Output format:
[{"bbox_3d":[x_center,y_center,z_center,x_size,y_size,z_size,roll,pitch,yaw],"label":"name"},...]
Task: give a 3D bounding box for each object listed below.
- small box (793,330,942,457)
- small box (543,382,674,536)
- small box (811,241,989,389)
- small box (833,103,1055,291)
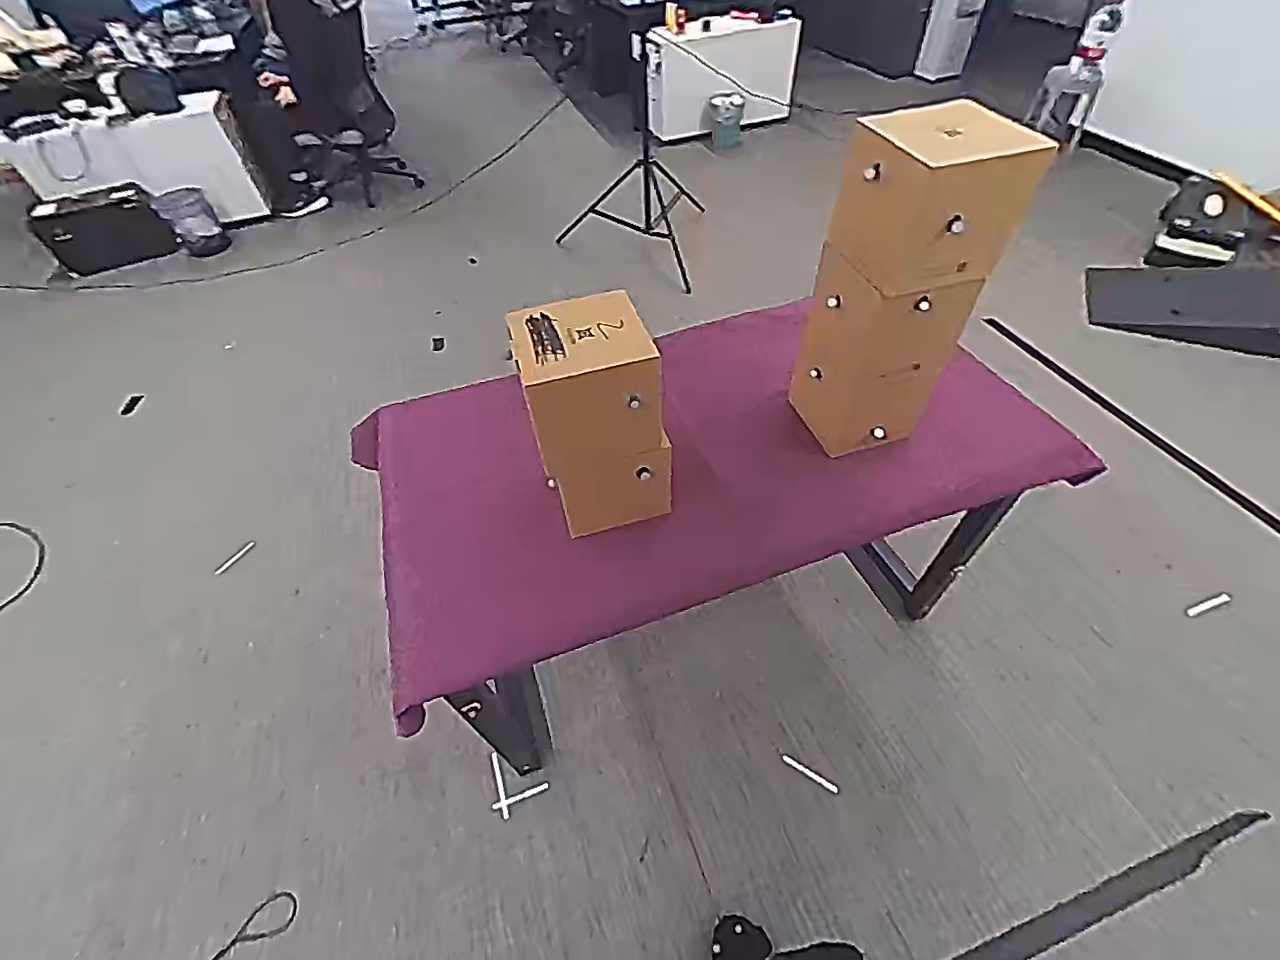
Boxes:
[{"bbox_3d":[0.397,-0.170,0.983,0.168,0.176,0.179,-15,51,-8],"label":"small box"},{"bbox_3d":[-0.051,-0.032,0.897,0.179,0.176,0.168,-15,50,-8],"label":"small box"},{"bbox_3d":[0.391,-0.272,0.855,0.168,0.176,0.179,-13,50,-7],"label":"small box"},{"bbox_3d":[0.385,-0.371,0.725,0.168,0.176,0.179,-14,50,-7],"label":"small box"}]
